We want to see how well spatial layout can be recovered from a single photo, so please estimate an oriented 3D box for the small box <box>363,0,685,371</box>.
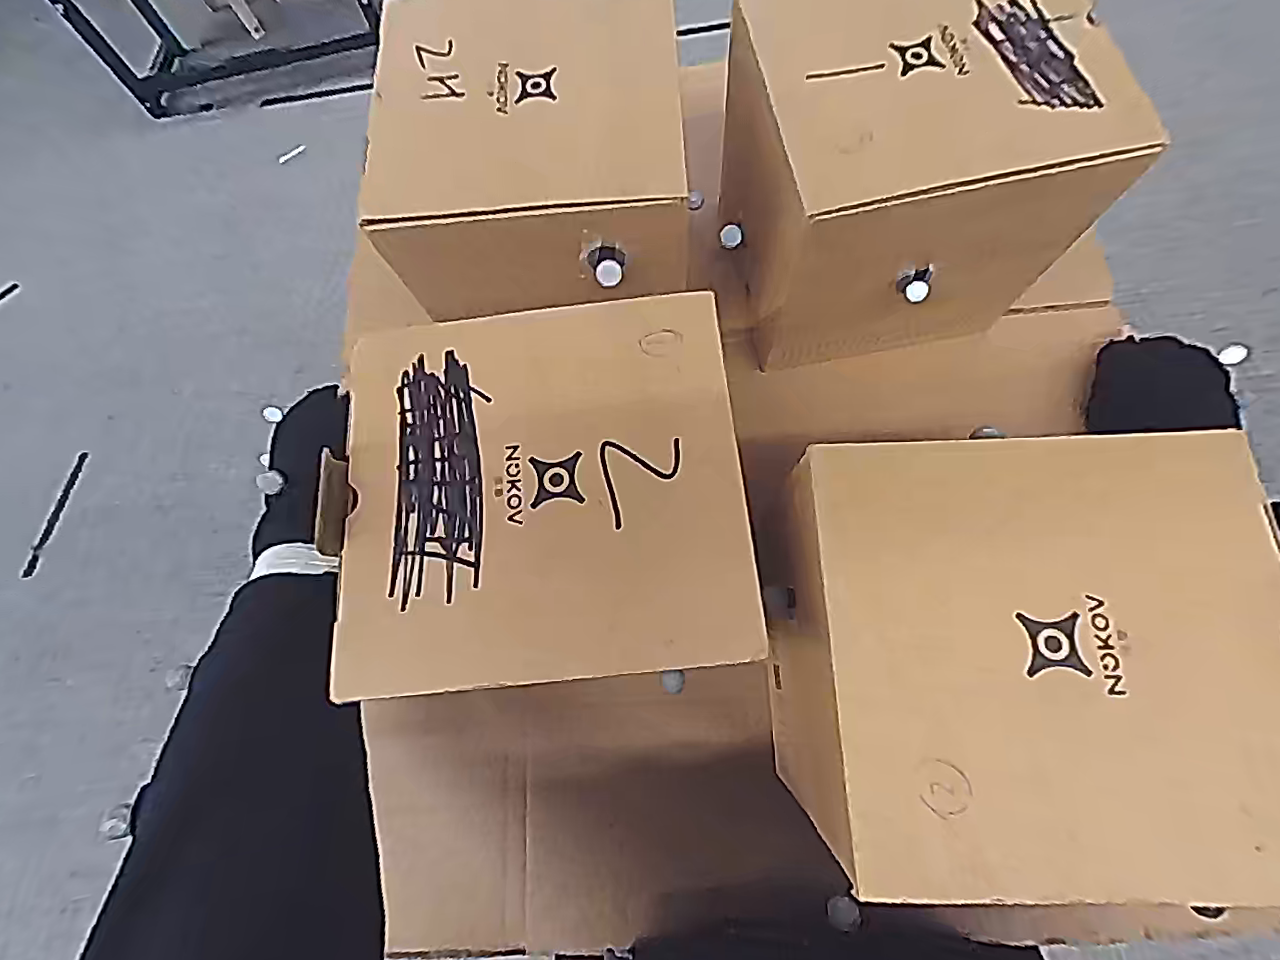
[{"bbox_3d":[-0.060,-0.191,0.384,0.179,0.176,0.168,-3,74,4],"label":"small box"}]
